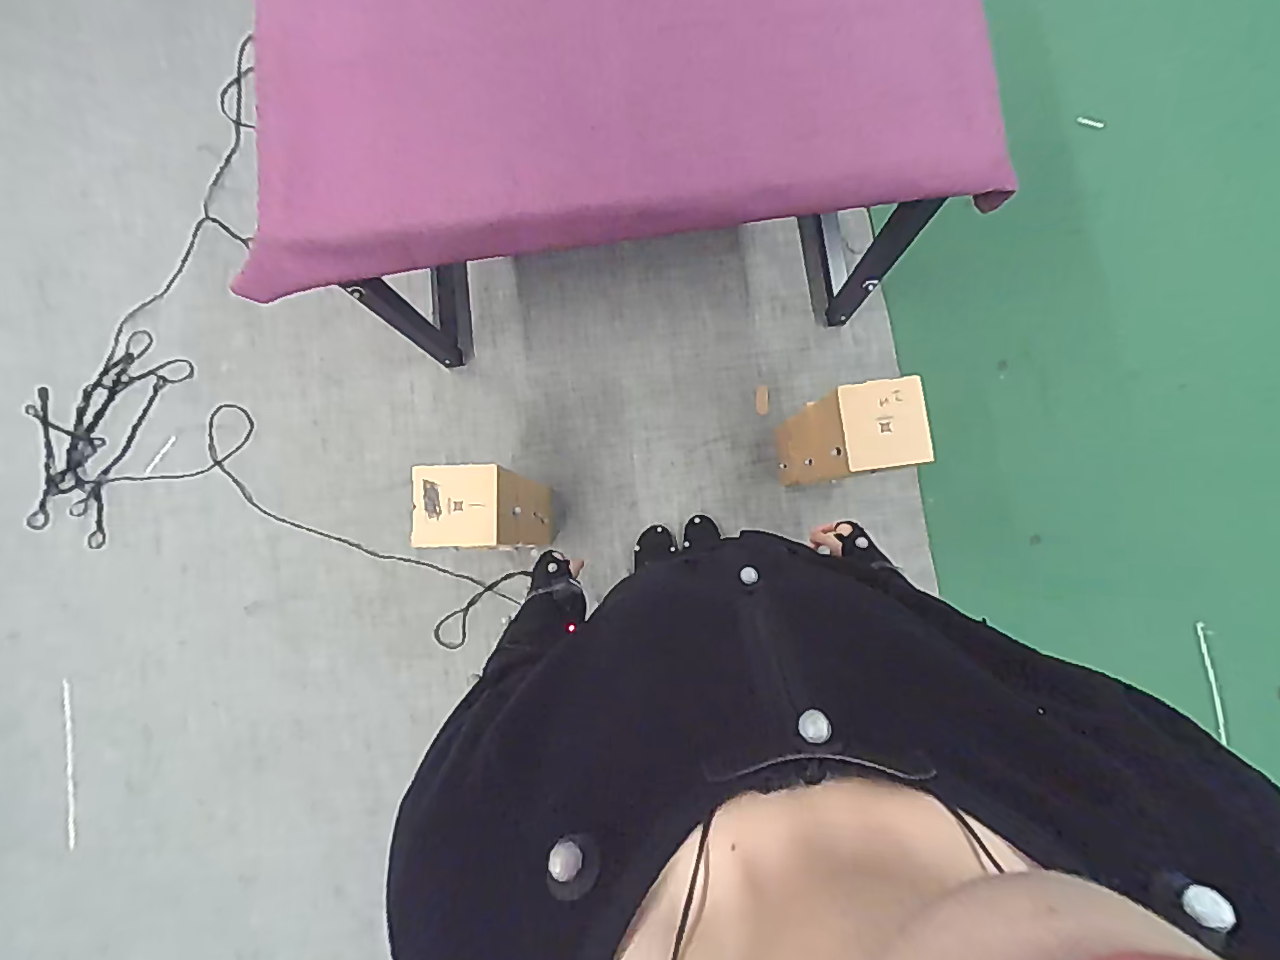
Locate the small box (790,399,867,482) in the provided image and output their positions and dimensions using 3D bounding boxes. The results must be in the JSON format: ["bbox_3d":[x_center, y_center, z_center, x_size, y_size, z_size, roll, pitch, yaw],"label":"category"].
[{"bbox_3d":[0.468,-0.097,1.294,0.168,0.176,0.179,-8,85,2],"label":"small box"}]

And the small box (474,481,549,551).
[{"bbox_3d":[-0.346,0.099,1.474,0.168,0.176,0.179,-3,85,2],"label":"small box"}]

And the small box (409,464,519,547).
[{"bbox_3d":[-0.366,0.058,1.147,0.179,0.176,0.168,-1,84,2],"label":"small box"}]

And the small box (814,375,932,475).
[{"bbox_3d":[0.477,-0.105,1.129,0.168,0.176,0.179,-7,85,1],"label":"small box"}]

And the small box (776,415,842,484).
[{"bbox_3d":[0.470,-0.083,1.455,0.179,0.176,0.168,-5,84,2],"label":"small box"}]
